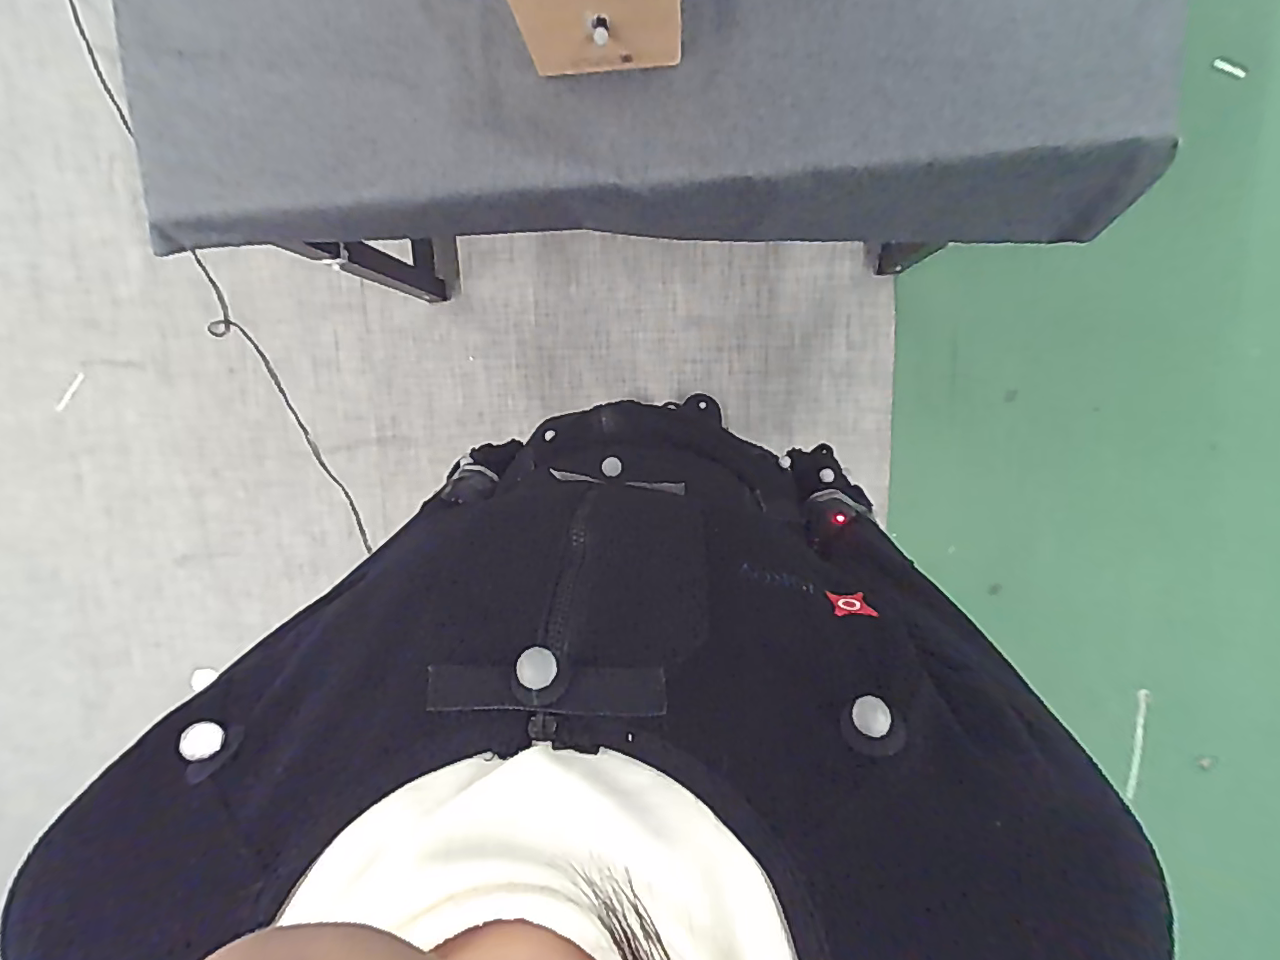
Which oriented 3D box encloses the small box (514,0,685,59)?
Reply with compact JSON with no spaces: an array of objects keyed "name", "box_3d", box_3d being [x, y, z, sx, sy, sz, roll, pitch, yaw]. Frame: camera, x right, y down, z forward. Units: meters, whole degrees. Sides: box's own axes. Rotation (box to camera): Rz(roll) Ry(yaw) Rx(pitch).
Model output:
[{"name":"small box","box_3d":[-0.043,-0.549,0.525,0.168,0.176,0.179,-2,99,6]}]
